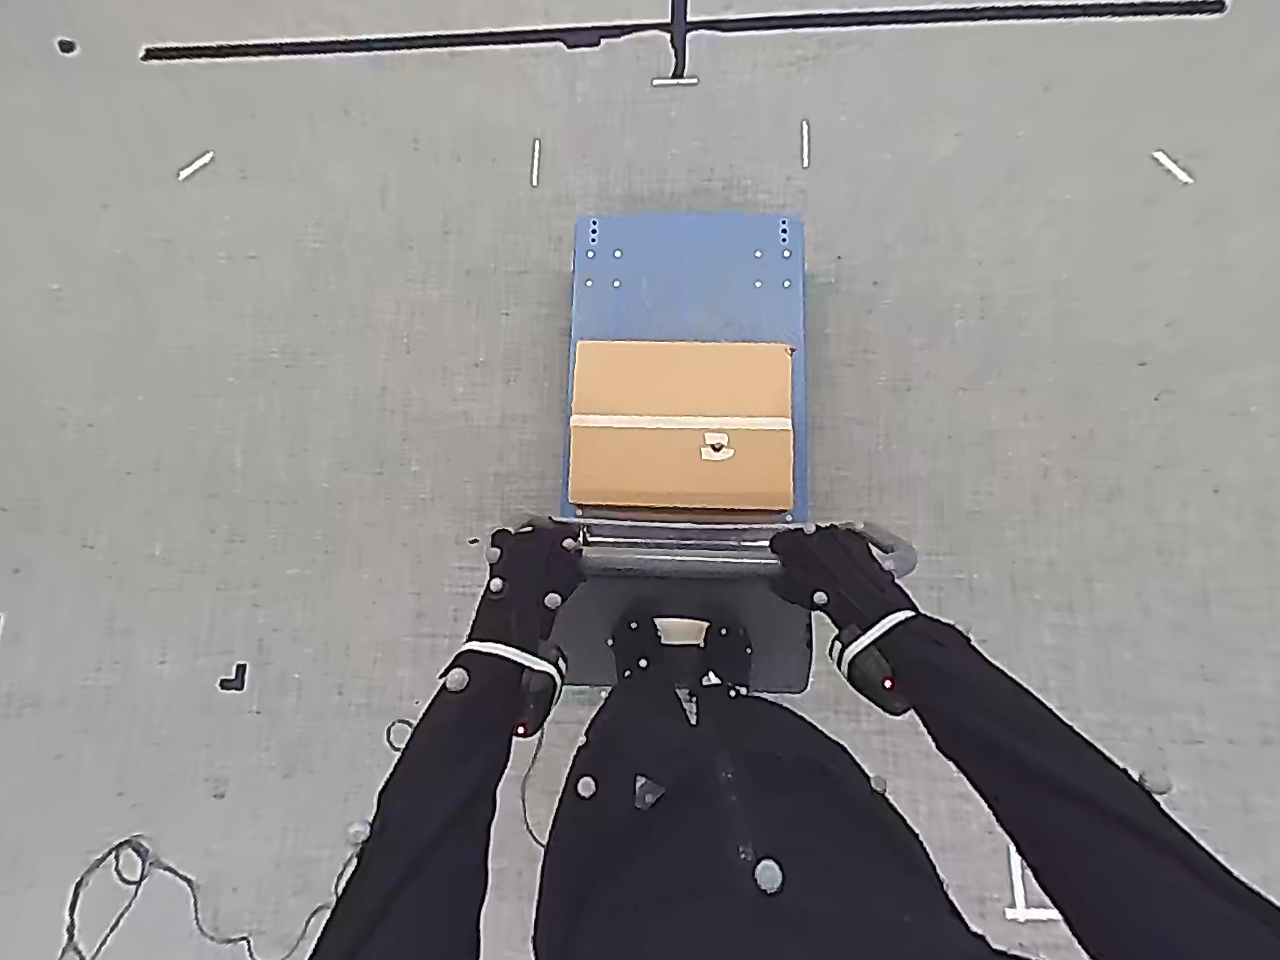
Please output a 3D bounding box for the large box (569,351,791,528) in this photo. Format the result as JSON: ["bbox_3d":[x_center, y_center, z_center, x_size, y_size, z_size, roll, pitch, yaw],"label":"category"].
[{"bbox_3d":[0.076,-0.065,1.131,0.408,0.320,0.320,1,82,2],"label":"large box"}]
